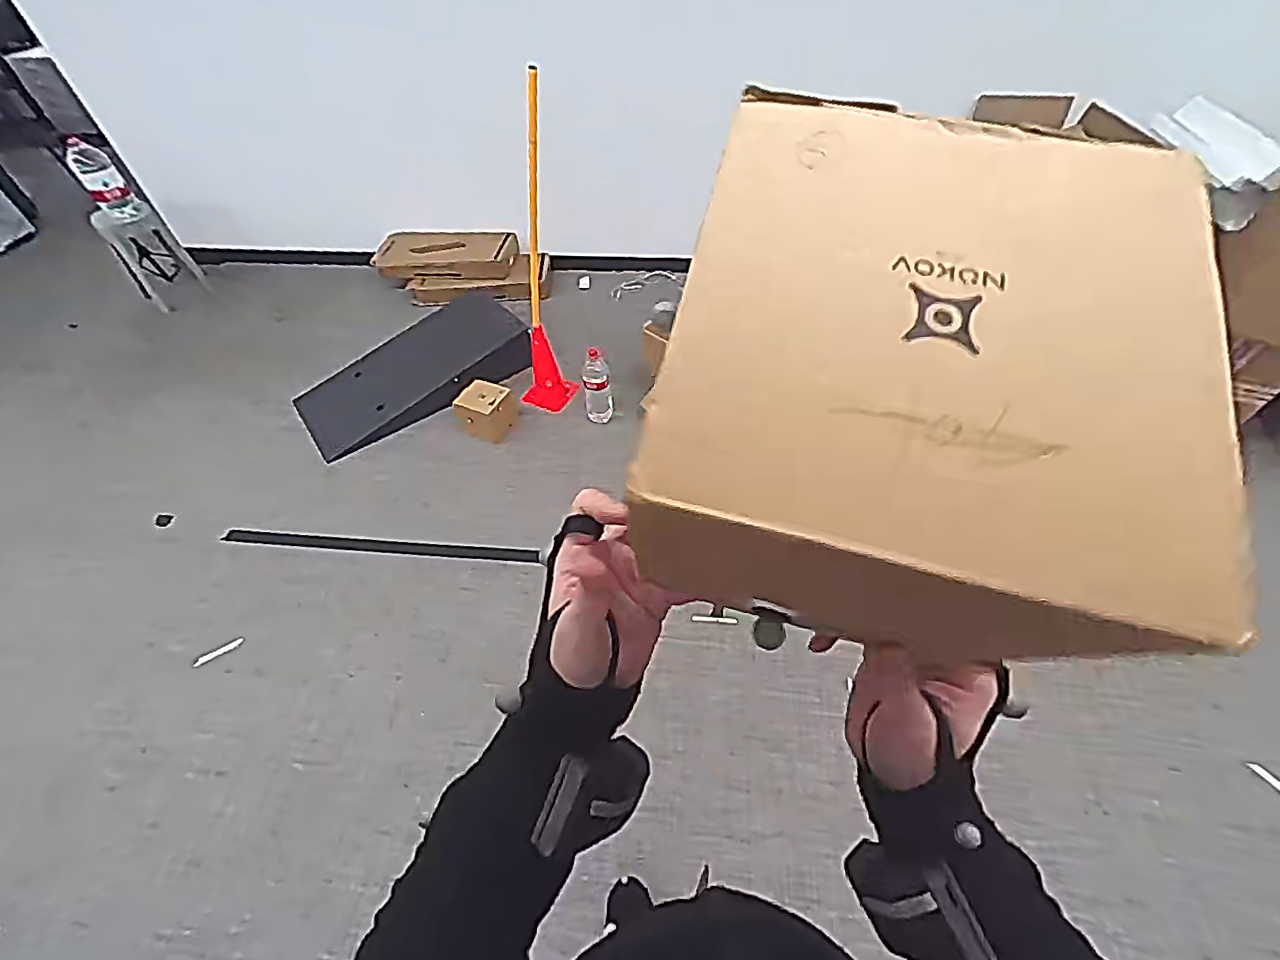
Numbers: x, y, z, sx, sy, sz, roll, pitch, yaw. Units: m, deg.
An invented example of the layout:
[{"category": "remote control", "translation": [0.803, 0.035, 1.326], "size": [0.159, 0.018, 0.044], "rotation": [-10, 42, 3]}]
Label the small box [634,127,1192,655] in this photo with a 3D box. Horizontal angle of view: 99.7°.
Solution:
[{"category": "small box", "translation": [0.094, -0.023, 0.262], "size": [0.168, 0.176, 0.179], "rotation": [11, 71, 5]}]
